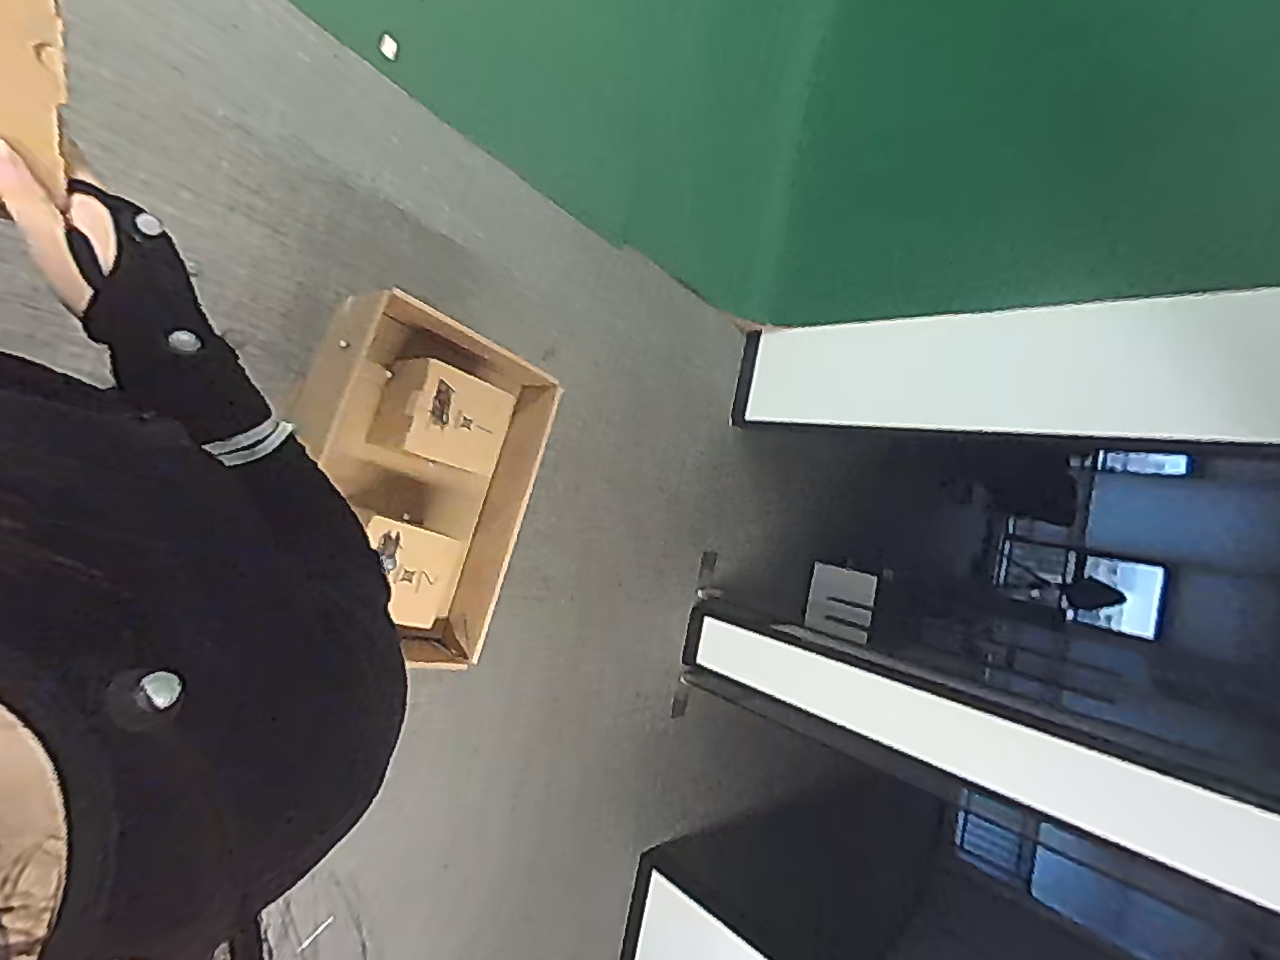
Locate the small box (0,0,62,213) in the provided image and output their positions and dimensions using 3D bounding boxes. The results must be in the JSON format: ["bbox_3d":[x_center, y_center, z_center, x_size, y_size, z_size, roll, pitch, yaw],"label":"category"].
[{"bbox_3d":[-0.448,-0.252,0.286,0.179,0.176,0.168,-7,110,-52],"label":"small box"}]
